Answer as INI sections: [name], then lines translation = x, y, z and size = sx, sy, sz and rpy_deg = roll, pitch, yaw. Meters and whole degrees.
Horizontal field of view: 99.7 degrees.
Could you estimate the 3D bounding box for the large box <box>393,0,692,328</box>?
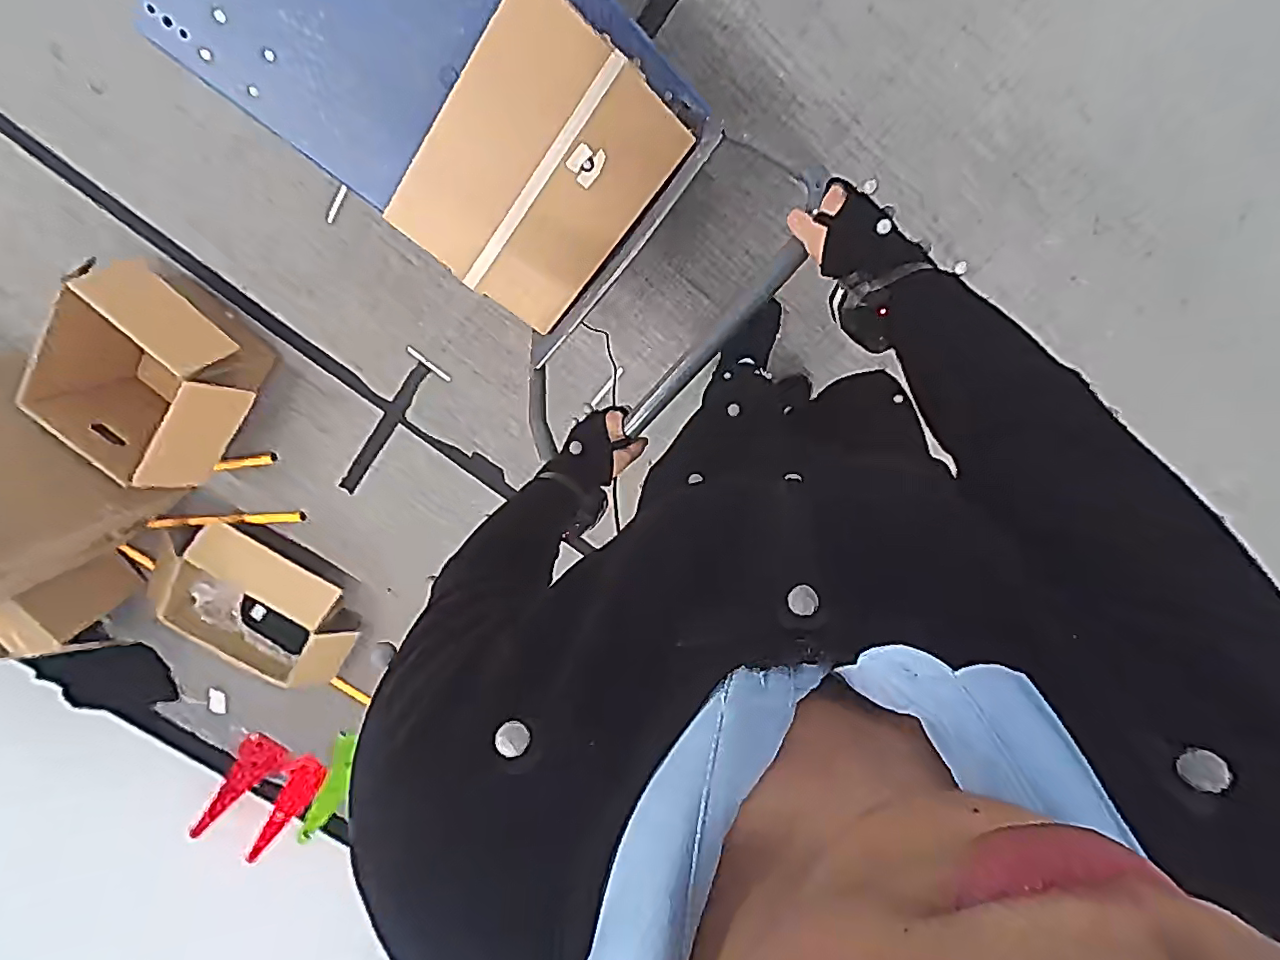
[large box]
translation = -0.171, -0.562, 0.970
size = 0.320, 0.320, 0.408
rpy_deg = 32, 115, -26
